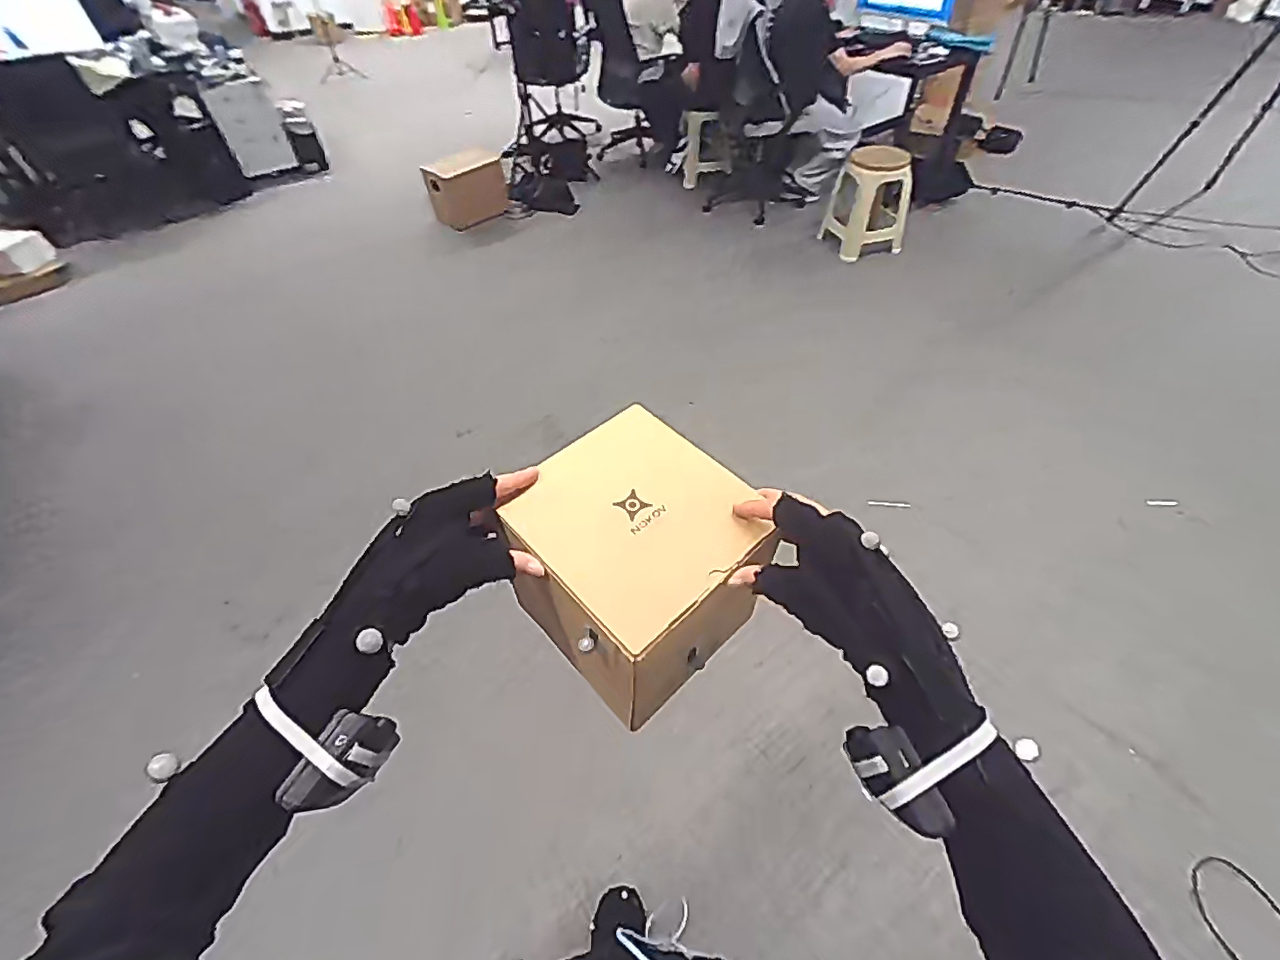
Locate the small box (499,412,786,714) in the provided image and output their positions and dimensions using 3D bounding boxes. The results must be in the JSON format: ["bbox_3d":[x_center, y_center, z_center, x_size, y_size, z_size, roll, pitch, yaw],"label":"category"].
[{"bbox_3d":[-0.003,0.076,0.493,0.168,0.176,0.179,-35,60,-27],"label":"small box"}]
